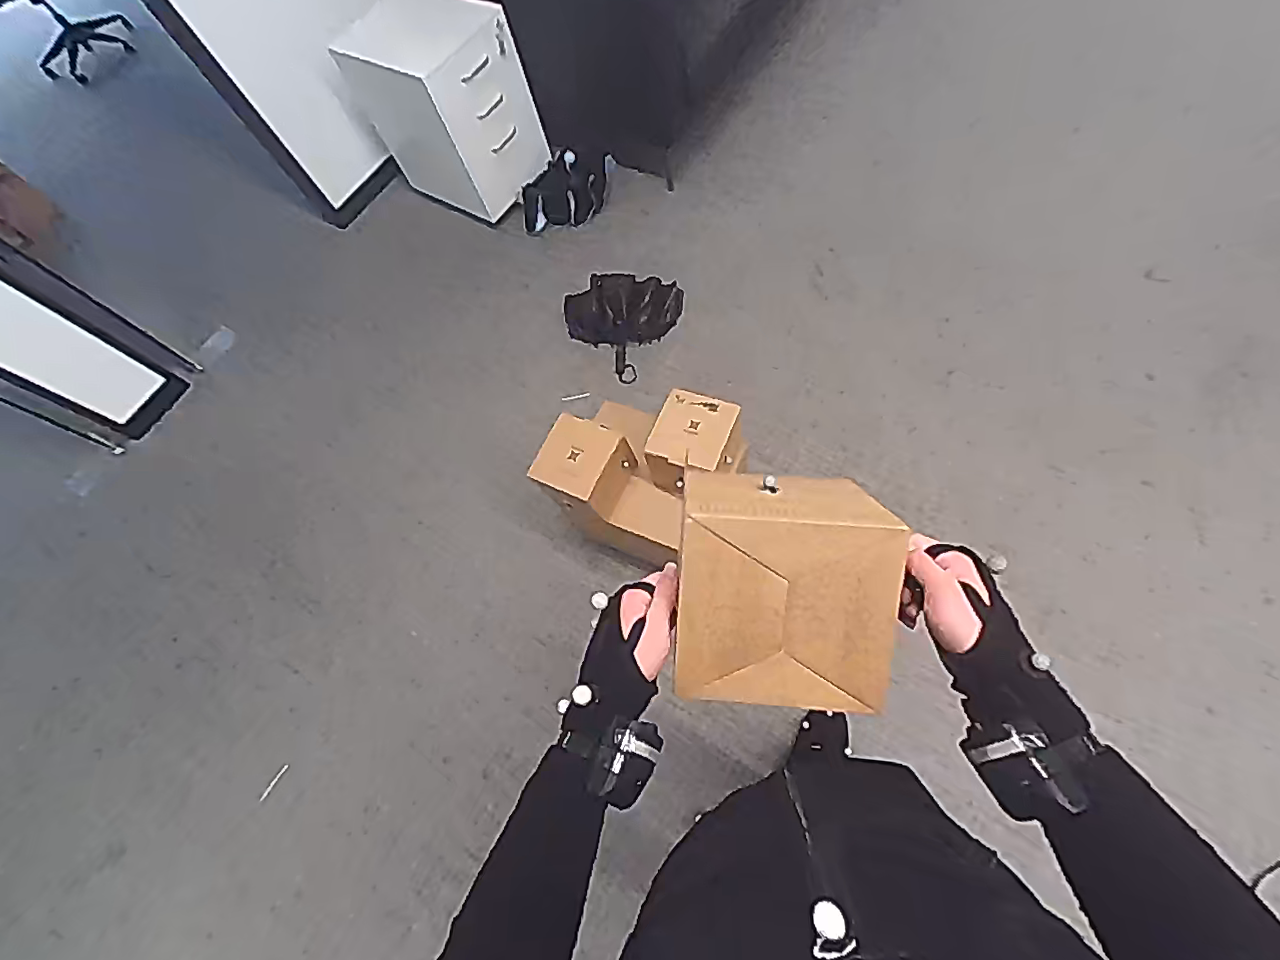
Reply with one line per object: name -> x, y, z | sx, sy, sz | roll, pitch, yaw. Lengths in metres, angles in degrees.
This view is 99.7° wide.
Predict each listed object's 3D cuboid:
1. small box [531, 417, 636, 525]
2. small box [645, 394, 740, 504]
small box -> -0.123, -0.018, 1.281 | 0.168, 0.176, 0.179 | 21, 76, 20
small box -> 0.130, -0.067, 1.249 | 0.168, 0.176, 0.179 | 18, 70, 18
